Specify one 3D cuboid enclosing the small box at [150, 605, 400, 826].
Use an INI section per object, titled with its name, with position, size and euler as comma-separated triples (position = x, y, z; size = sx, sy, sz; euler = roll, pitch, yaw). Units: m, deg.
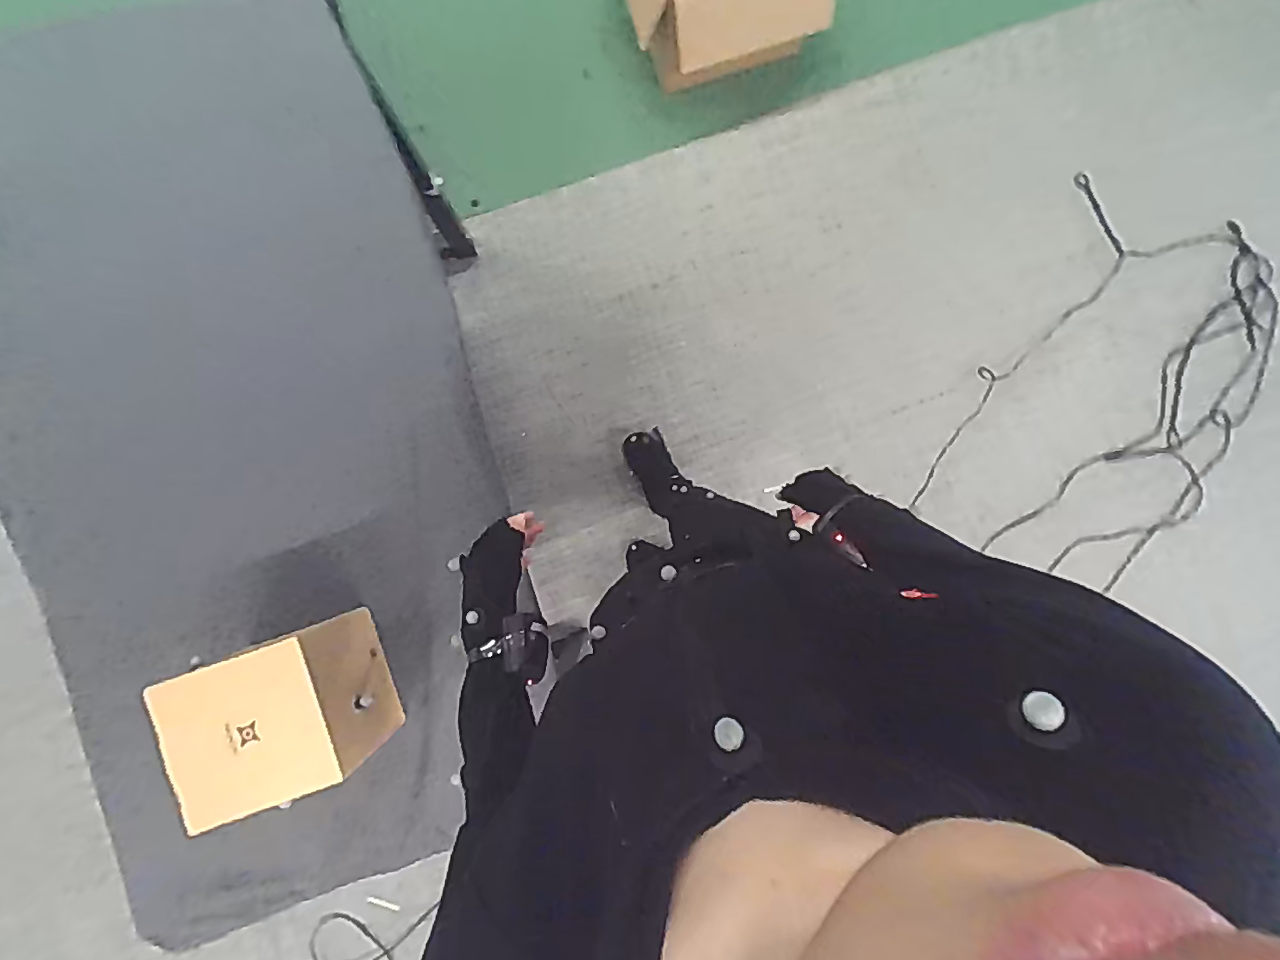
[small box]
position = -0.420, 0.268, 0.661
size = 0.179, 0.176, 0.168
euler = -20, 89, 0
